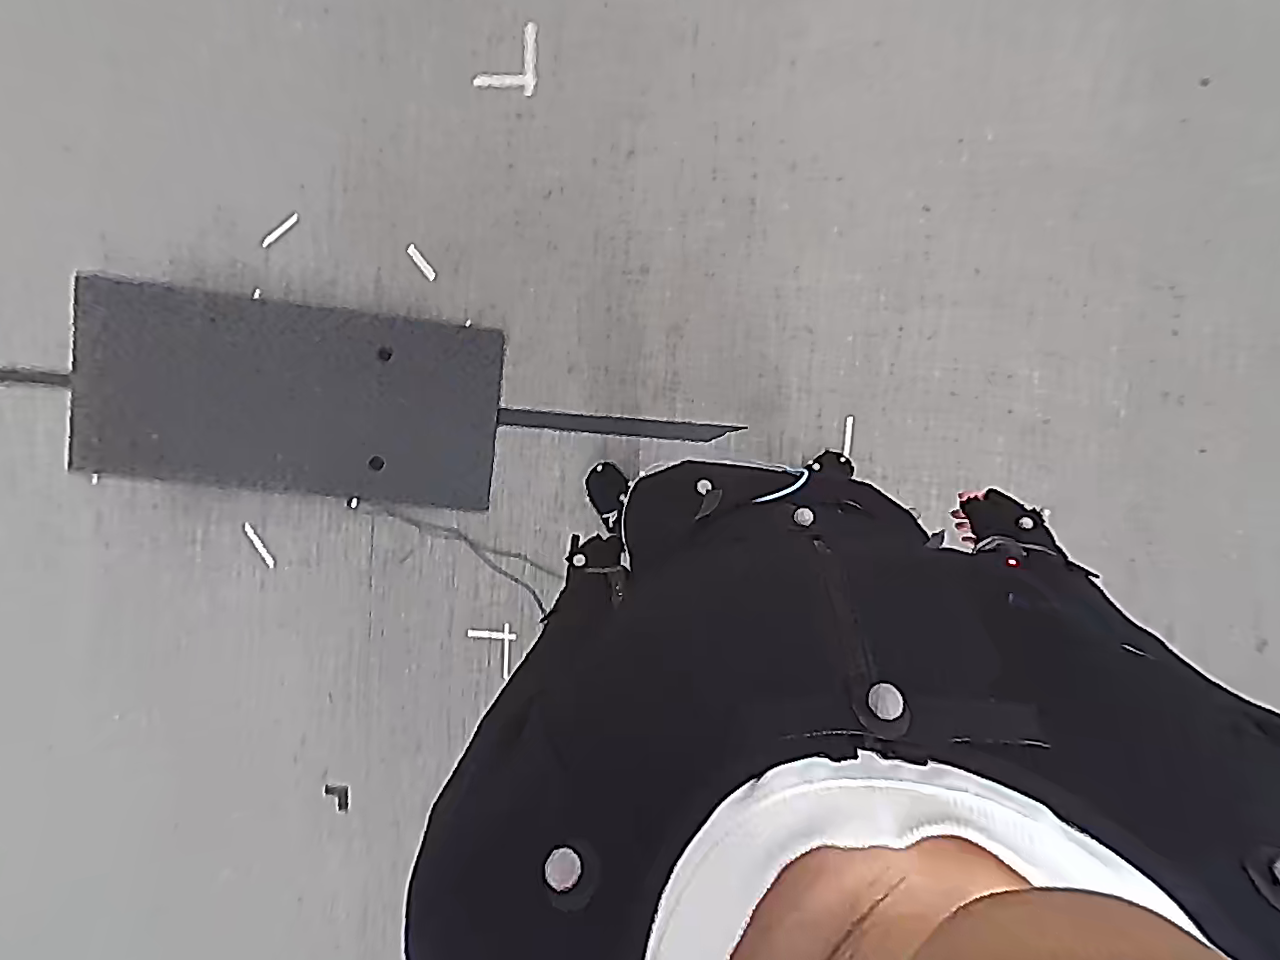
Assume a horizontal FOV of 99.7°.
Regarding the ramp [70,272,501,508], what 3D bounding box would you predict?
[{"bbox_3d":[-0.882,-0.212,1.383,0.991,0.206,0.509,5,93,2],"label":"ramp"}]
